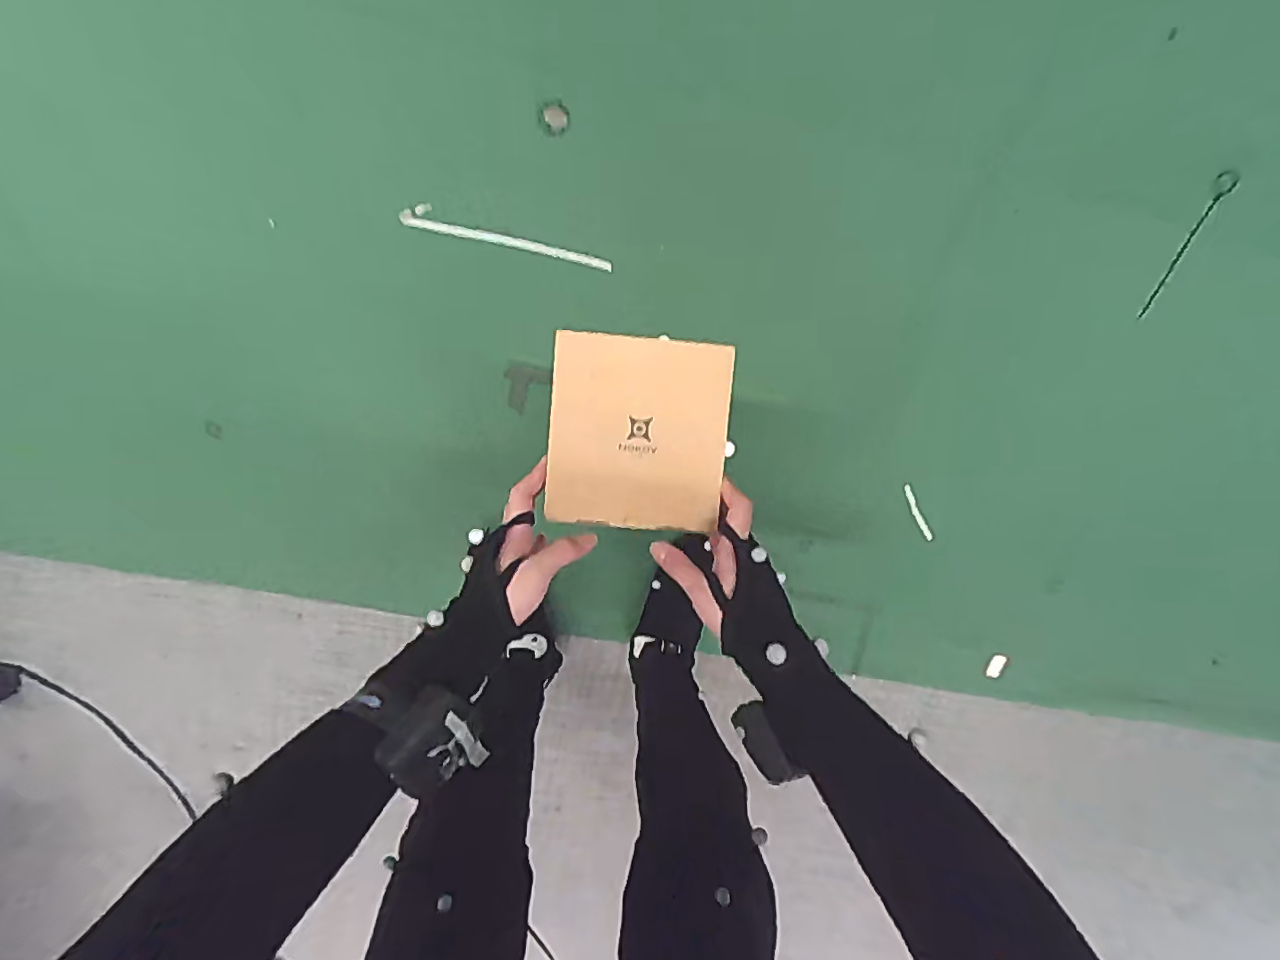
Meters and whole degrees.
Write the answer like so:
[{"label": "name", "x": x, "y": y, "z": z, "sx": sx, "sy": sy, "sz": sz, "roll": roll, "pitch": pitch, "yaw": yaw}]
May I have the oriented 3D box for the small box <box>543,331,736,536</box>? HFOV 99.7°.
[{"label": "small box", "x": -0.007, "y": -0.048, "z": 0.570, "sx": 0.168, "sy": 0.176, "sz": 0.179, "roll": 5, "pitch": 97, "yaw": -5}]
